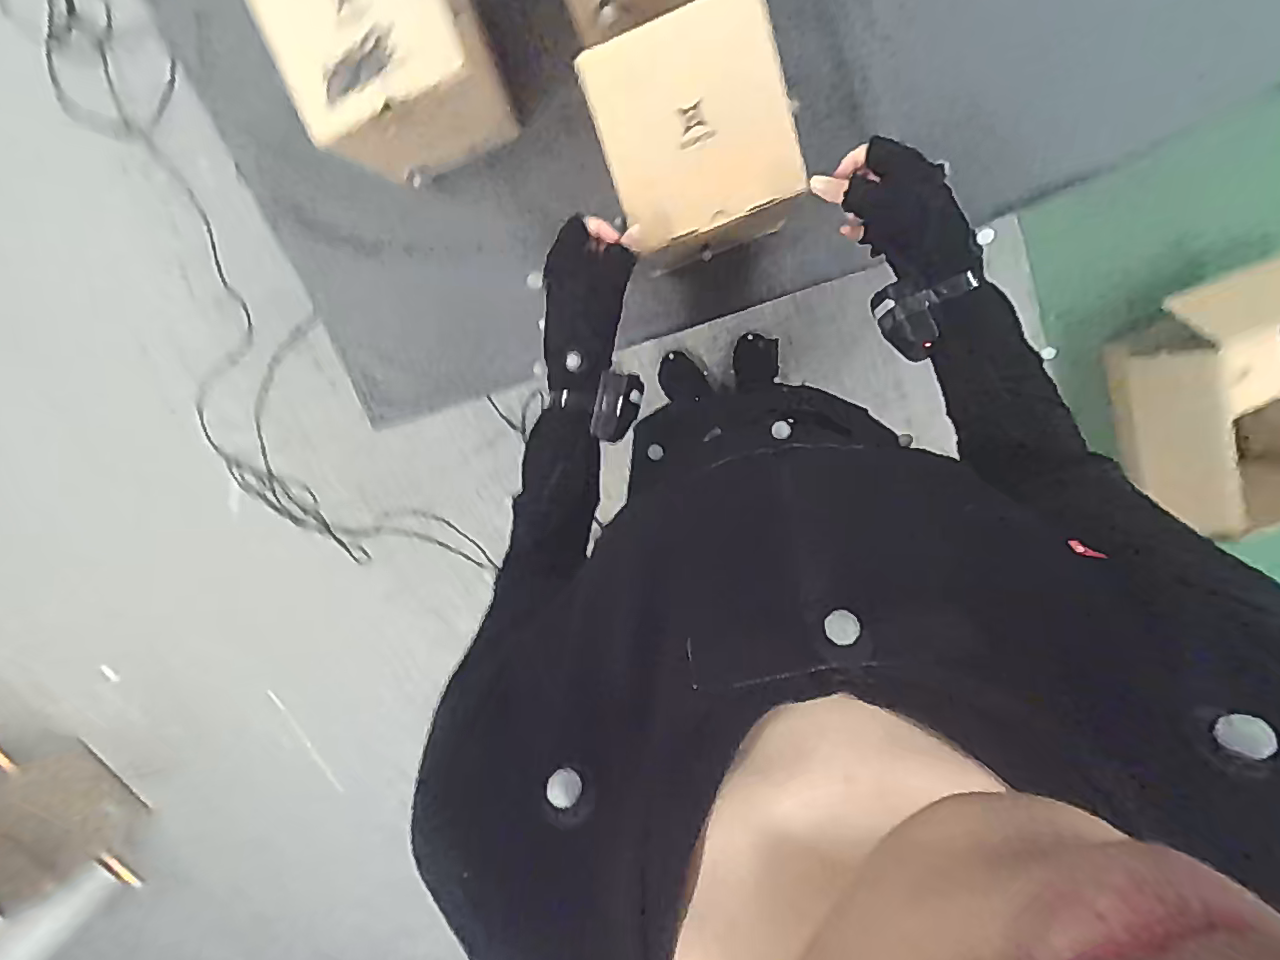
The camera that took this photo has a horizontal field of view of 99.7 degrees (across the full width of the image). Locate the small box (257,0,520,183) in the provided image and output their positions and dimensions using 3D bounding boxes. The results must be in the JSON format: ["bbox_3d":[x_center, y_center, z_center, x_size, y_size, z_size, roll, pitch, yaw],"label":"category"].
[{"bbox_3d":[-0.249,-0.439,0.568,0.168,0.176,0.179,-19,102,10],"label":"small box"}]

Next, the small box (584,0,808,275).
[{"bbox_3d":[0.058,-0.337,0.567,0.168,0.176,0.179,-18,101,10],"label":"small box"}]
